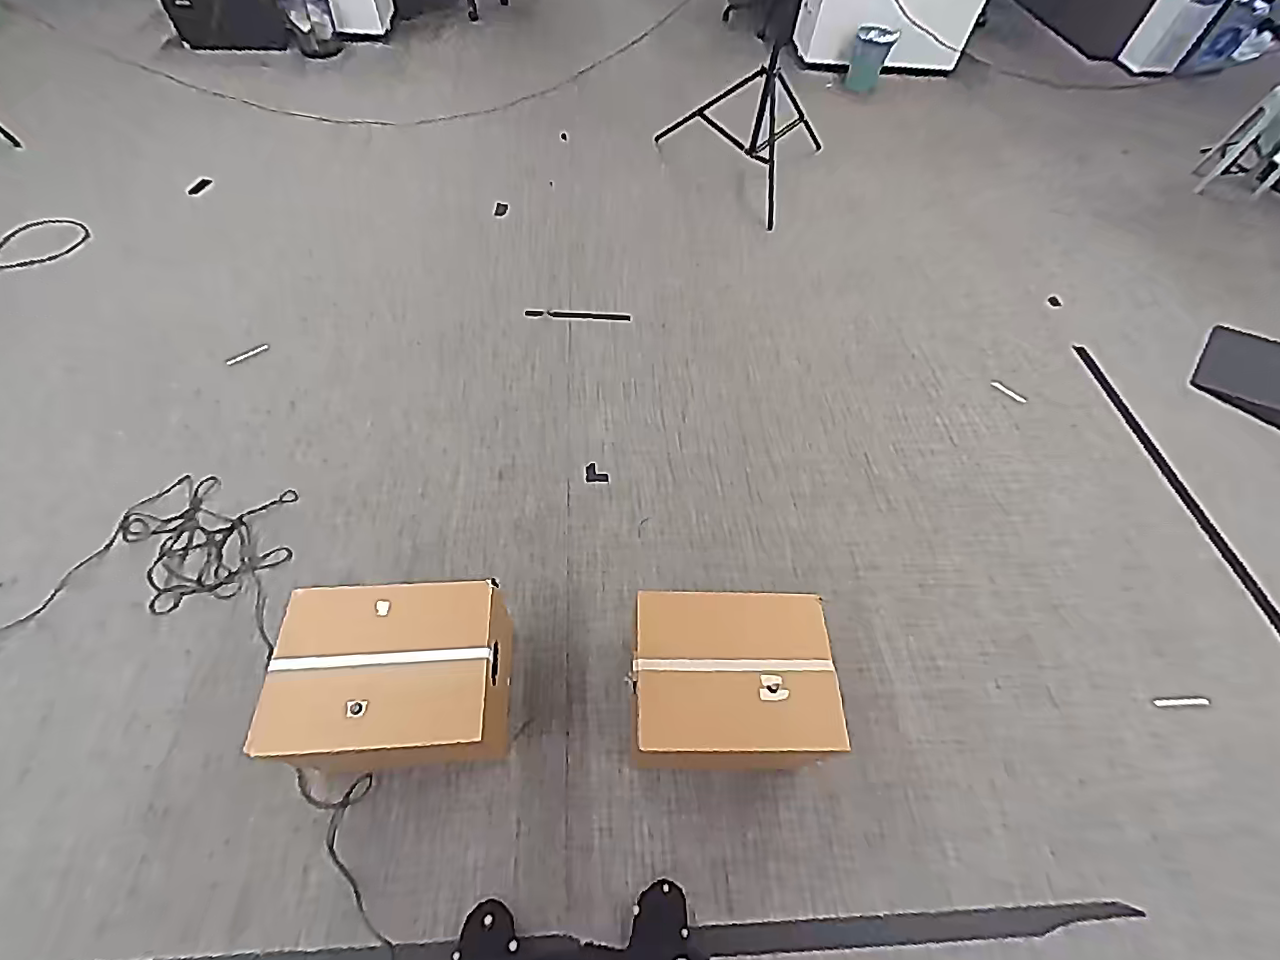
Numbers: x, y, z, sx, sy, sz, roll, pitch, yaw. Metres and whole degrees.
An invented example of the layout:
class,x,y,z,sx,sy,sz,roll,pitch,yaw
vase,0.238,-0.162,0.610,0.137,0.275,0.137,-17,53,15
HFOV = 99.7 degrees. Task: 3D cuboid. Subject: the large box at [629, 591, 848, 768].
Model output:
class,x,y,z,sx,sy,sz,roll,pitch,yaw
large box,0.187,0.458,1.224,0.408,0.320,0.320,2,57,-4
